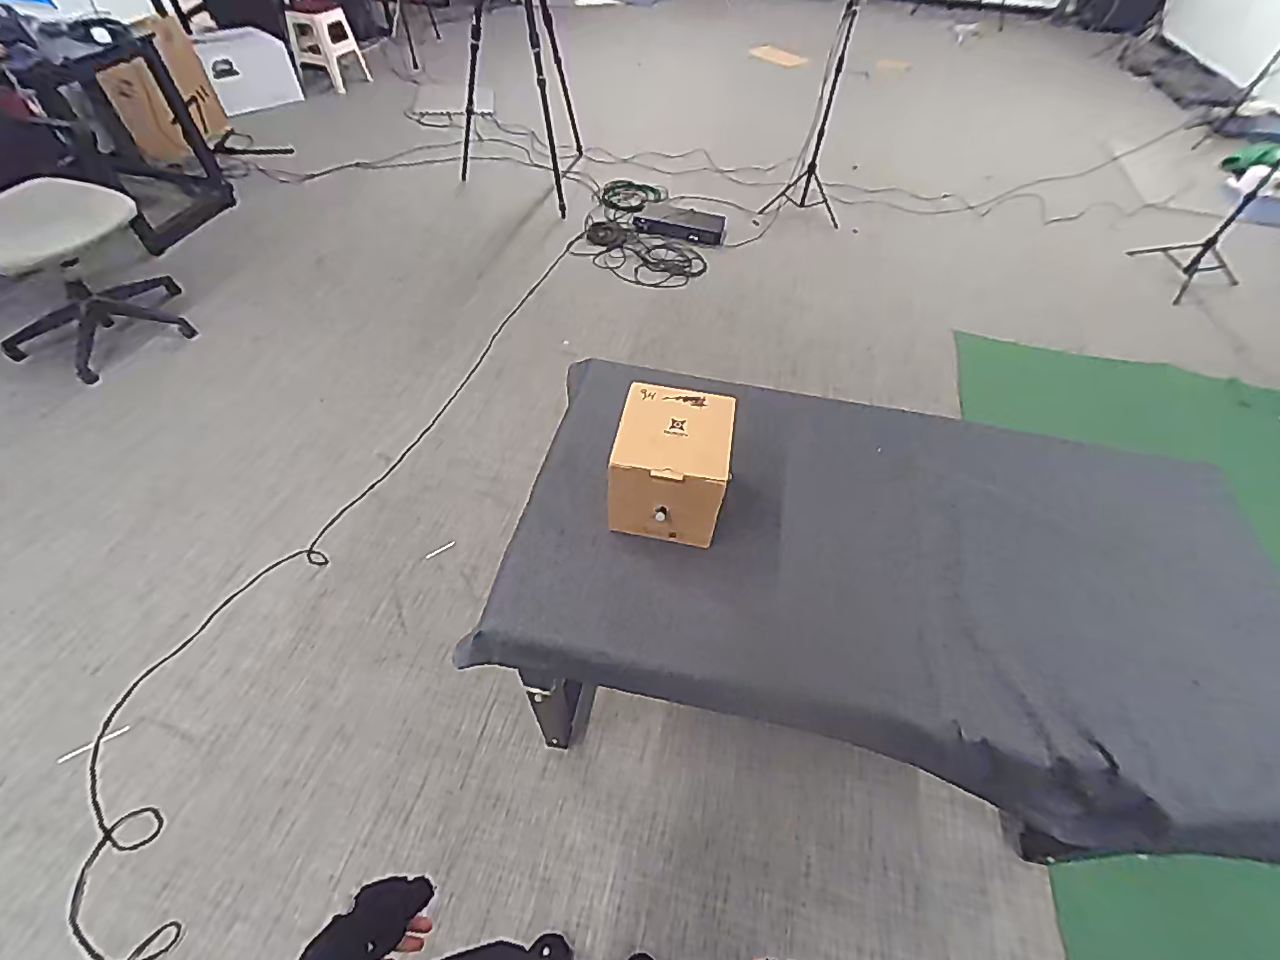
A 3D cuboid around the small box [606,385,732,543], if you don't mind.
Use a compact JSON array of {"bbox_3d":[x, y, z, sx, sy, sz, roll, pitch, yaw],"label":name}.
[{"bbox_3d":[0.047,-0.021,0.857,0.168,0.176,0.179,9,52,5],"label":"small box"}]
